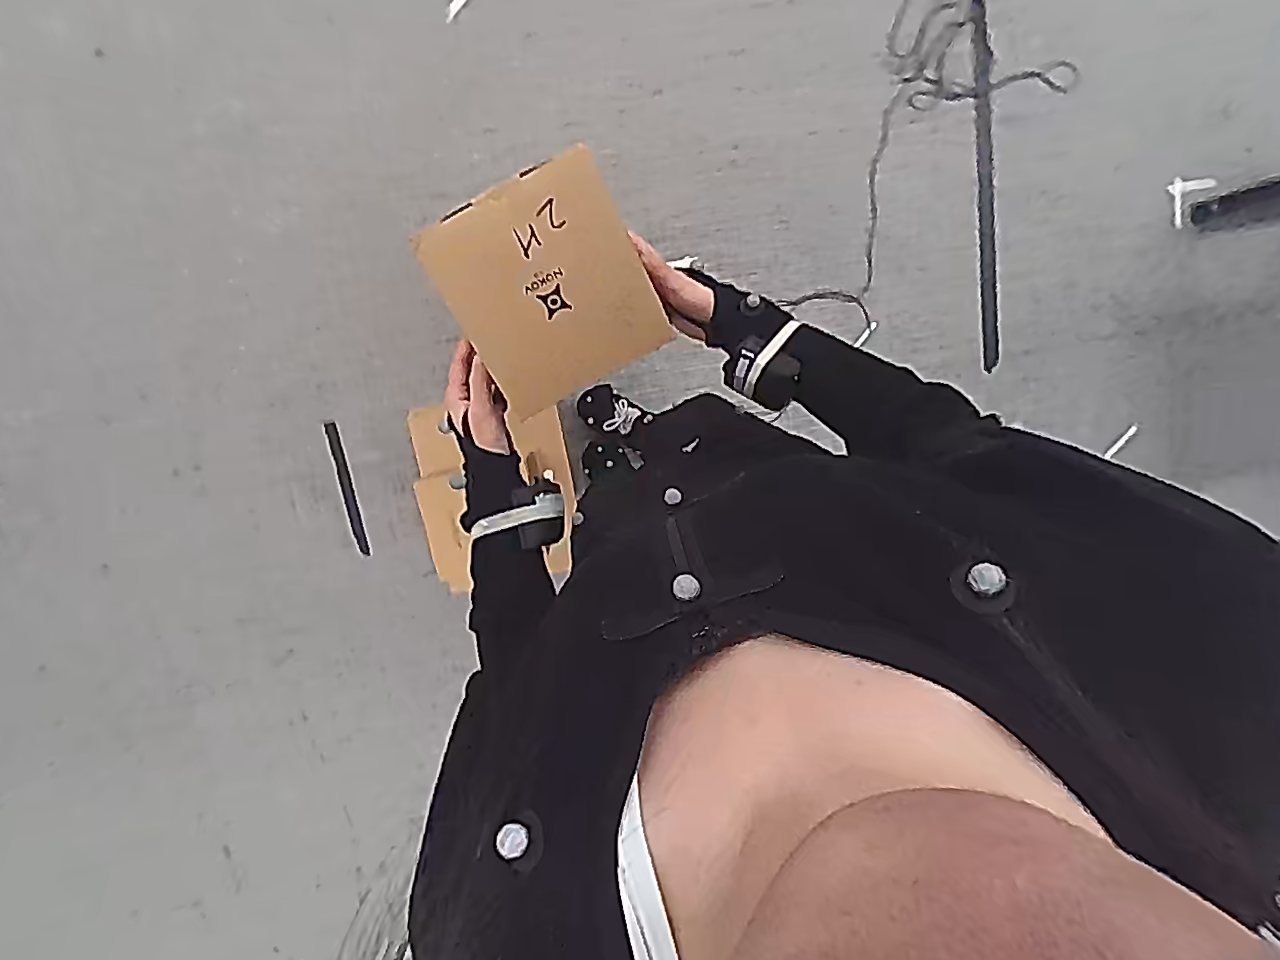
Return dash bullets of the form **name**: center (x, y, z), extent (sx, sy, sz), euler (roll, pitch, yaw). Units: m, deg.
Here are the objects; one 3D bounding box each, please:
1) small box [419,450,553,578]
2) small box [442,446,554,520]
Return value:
- **small box**: center (-0.251, 0.048, 0.927), extent (0.179, 0.176, 0.168), euler (-13, 98, -4)
- **small box**: center (-0.276, 0.031, 1.087), extent (0.179, 0.176, 0.168), euler (-12, 100, -6)
